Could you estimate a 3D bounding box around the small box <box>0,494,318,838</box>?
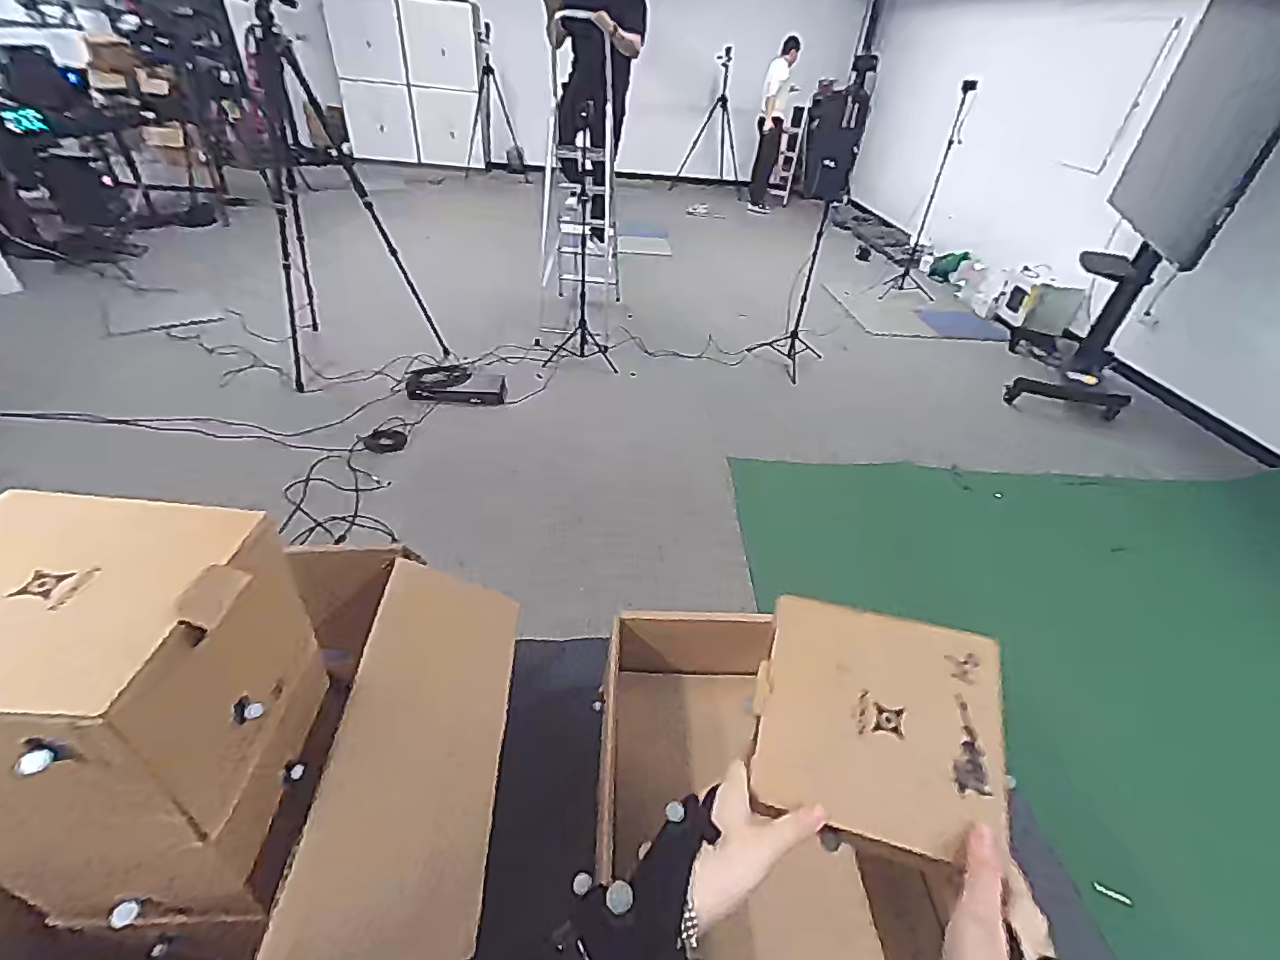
[{"bbox_3d":[-0.367,0.132,0.386,0.179,0.176,0.168,6,36,-7],"label":"small box"}]
